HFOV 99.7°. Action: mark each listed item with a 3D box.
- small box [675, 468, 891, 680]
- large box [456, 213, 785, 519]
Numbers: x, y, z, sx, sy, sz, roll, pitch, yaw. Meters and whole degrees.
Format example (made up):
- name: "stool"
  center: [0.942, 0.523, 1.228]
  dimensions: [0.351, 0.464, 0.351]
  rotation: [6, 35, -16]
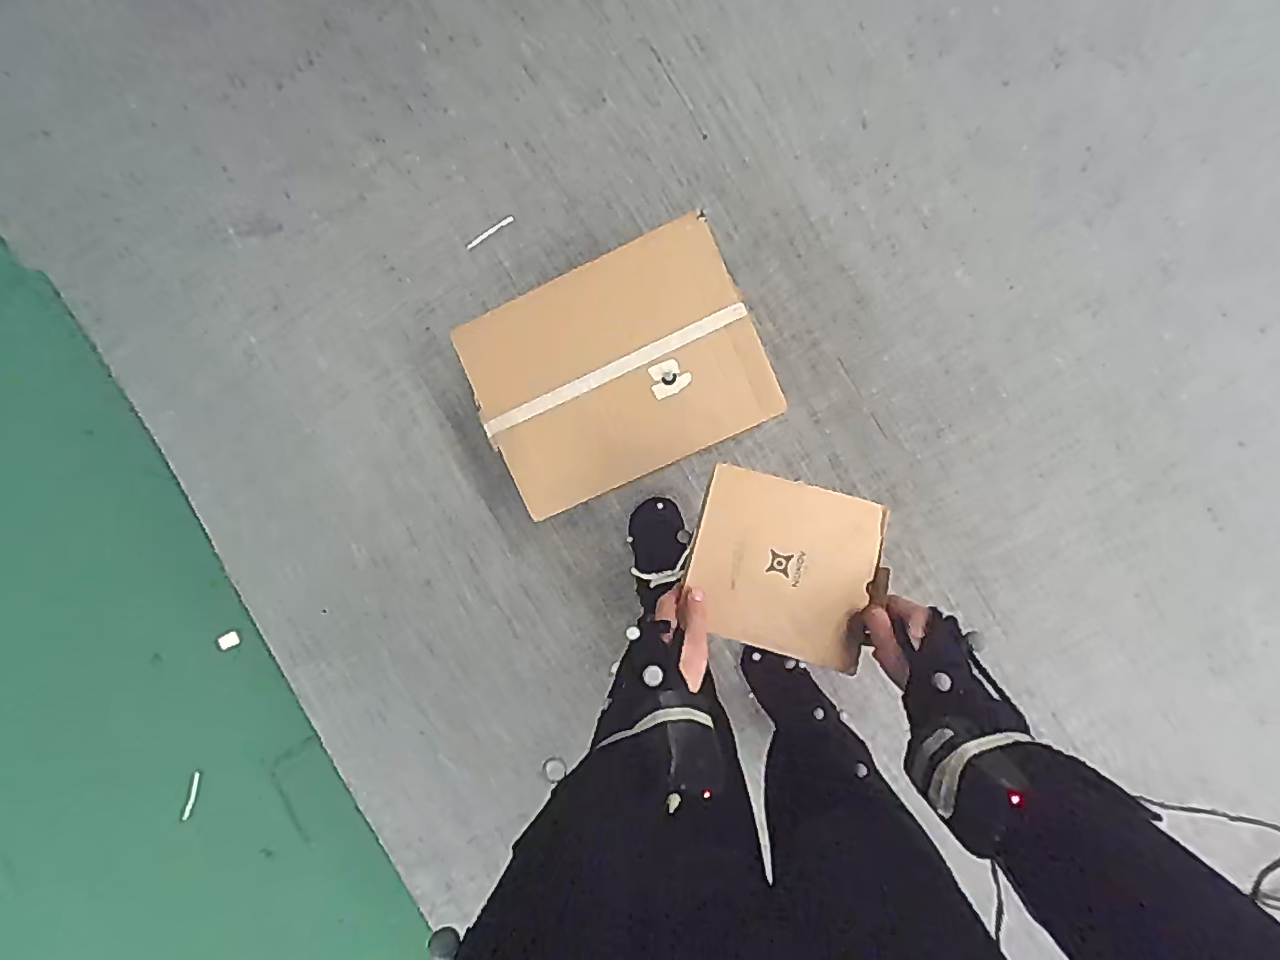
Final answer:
- name: "small box"
  center: [0.142, 0.101, 0.591]
  dimensions: [0.179, 0.176, 0.168]
  rotation: [14, 79, 7]
- name: "large box"
  center: [-0.023, -0.162, 0.926]
  dimensions: [0.408, 0.320, 0.320]
  rotation: [-24, 90, 5]
